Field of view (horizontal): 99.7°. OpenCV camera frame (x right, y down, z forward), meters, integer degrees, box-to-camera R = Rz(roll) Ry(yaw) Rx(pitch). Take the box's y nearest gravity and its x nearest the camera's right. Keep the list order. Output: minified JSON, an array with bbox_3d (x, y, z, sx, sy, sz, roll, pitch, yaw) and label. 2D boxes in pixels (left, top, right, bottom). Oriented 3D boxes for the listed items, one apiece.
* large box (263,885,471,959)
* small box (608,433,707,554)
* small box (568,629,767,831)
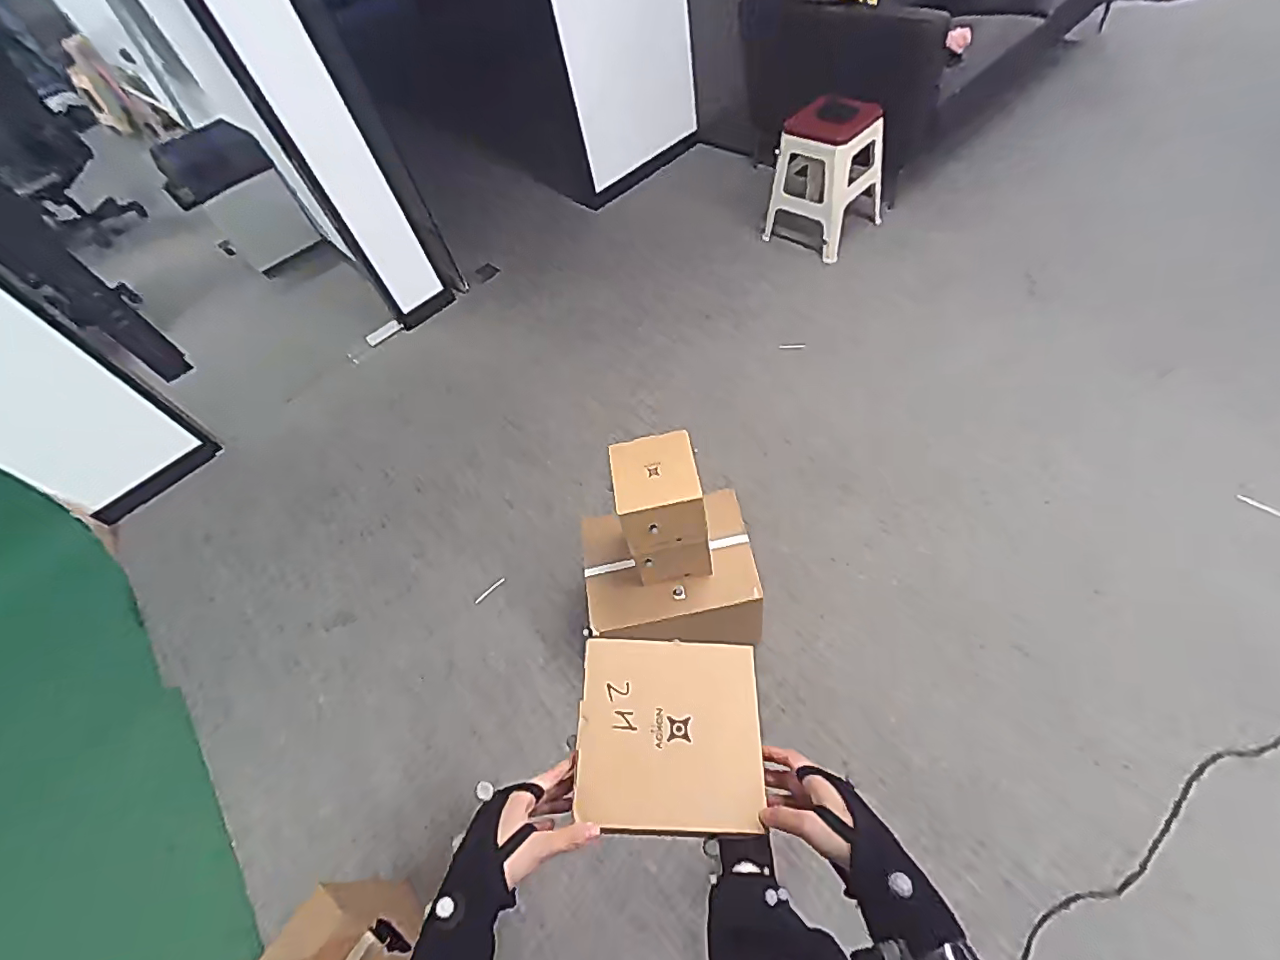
[{"bbox_3d":[-0.567,1.059,0.998,0.320,0.320,0.408,23,63,27],"label":"large box"},{"bbox_3d":[0.037,0.035,1.109,0.168,0.176,0.179,-12,51,3],"label":"small box"},{"bbox_3d":[0.023,0.271,0.576,0.179,0.176,0.168,3,54,-1],"label":"small box"}]
